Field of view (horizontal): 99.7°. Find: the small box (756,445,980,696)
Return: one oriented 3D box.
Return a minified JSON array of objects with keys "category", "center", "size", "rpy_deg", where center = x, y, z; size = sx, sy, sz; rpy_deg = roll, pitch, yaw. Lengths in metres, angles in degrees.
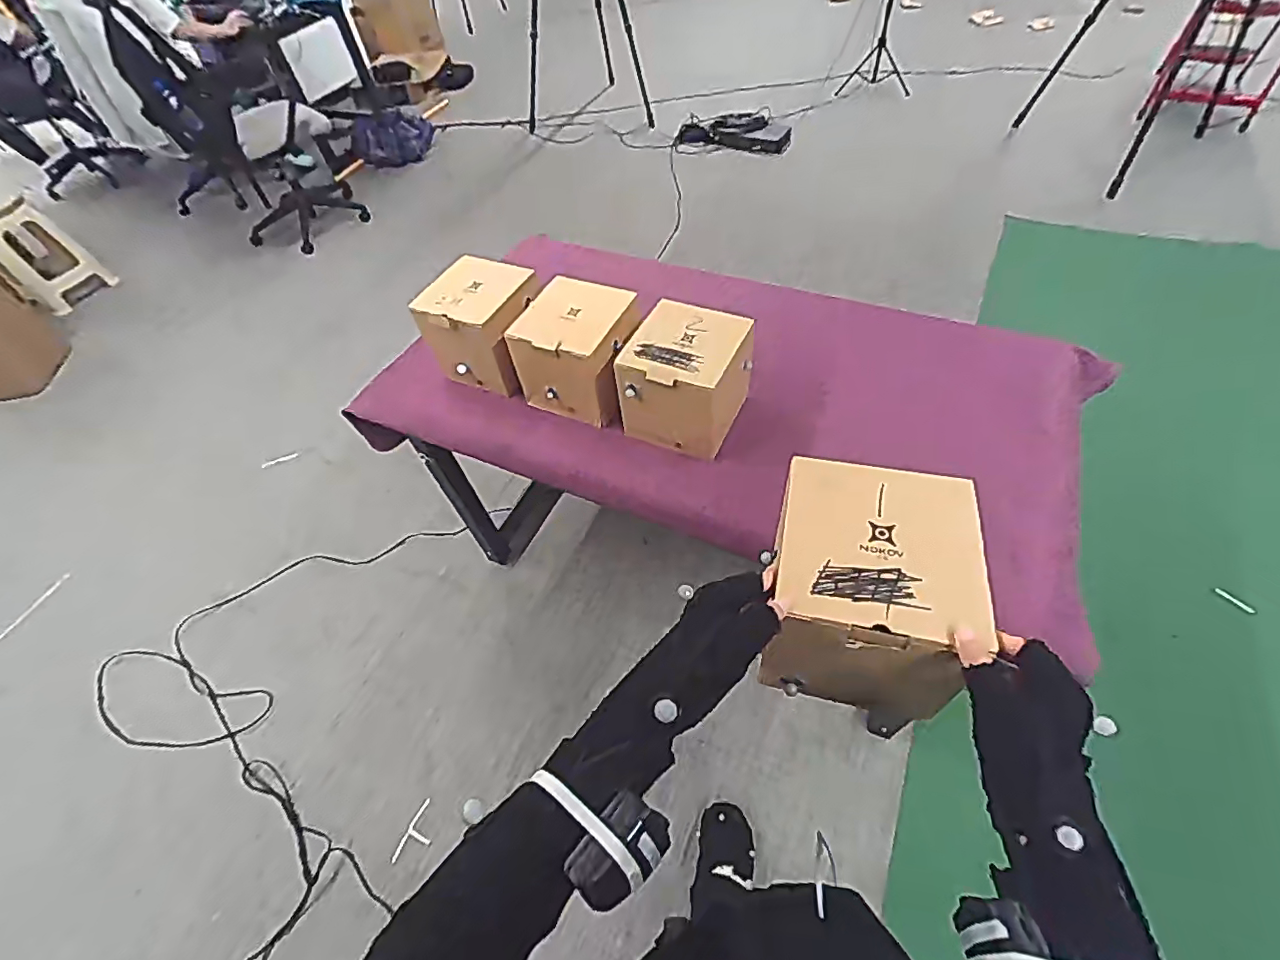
[{"category":"small box","center":[0.212,0.092,0.540],"size":[0.168,0.176,0.179],"rpy_deg":[8,52,13]}]
